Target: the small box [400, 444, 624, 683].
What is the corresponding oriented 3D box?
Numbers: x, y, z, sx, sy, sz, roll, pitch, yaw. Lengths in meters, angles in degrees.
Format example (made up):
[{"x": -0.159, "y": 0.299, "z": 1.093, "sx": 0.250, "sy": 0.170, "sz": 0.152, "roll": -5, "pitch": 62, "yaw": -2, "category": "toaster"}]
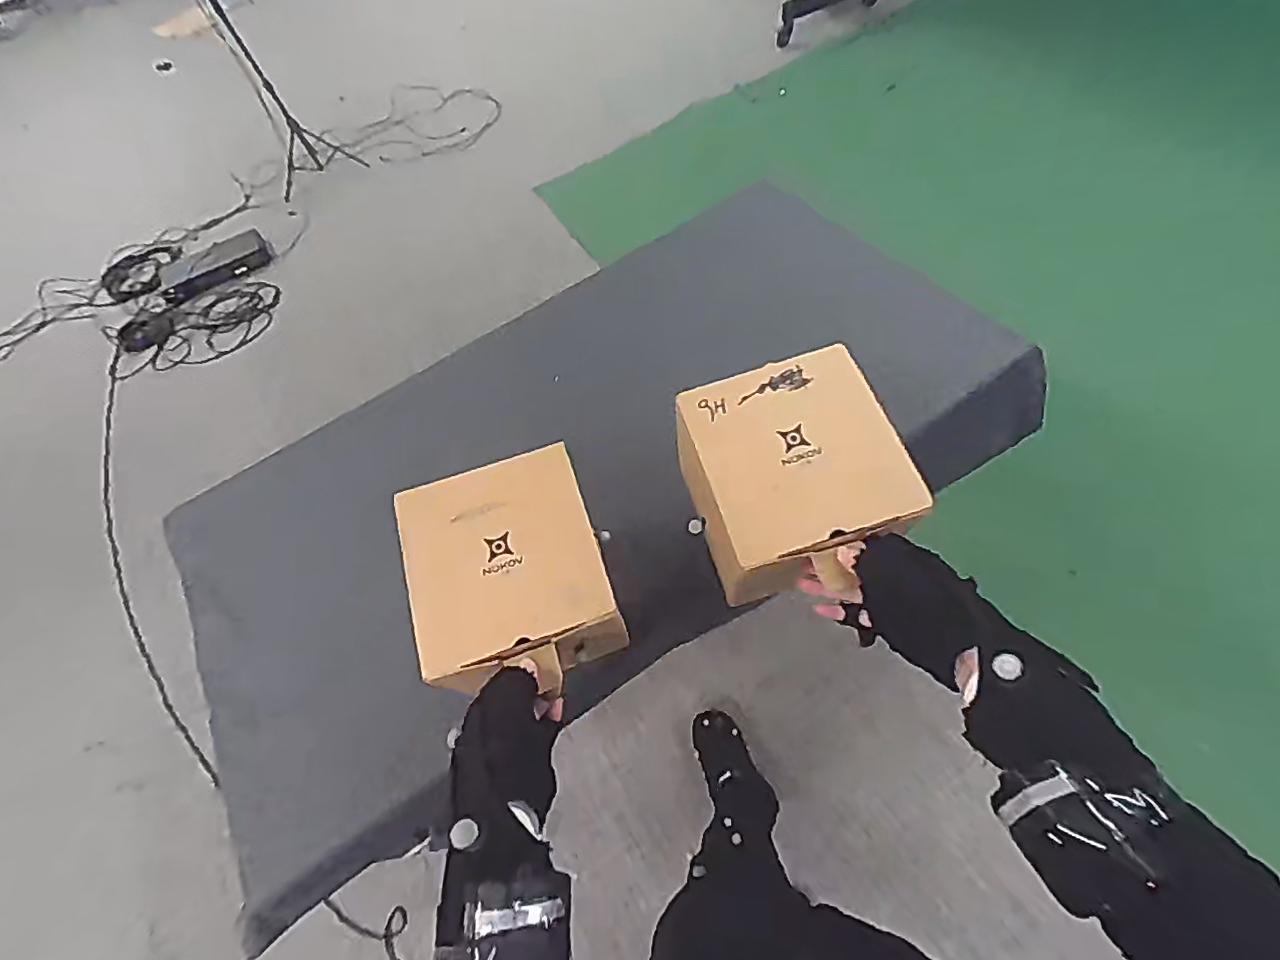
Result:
[{"x": -0.120, "y": 0.096, "z": 0.555, "sx": 0.168, "sy": 0.176, "sz": 0.179, "roll": -18, "pitch": 63, "yaw": -8, "category": "small box"}]
